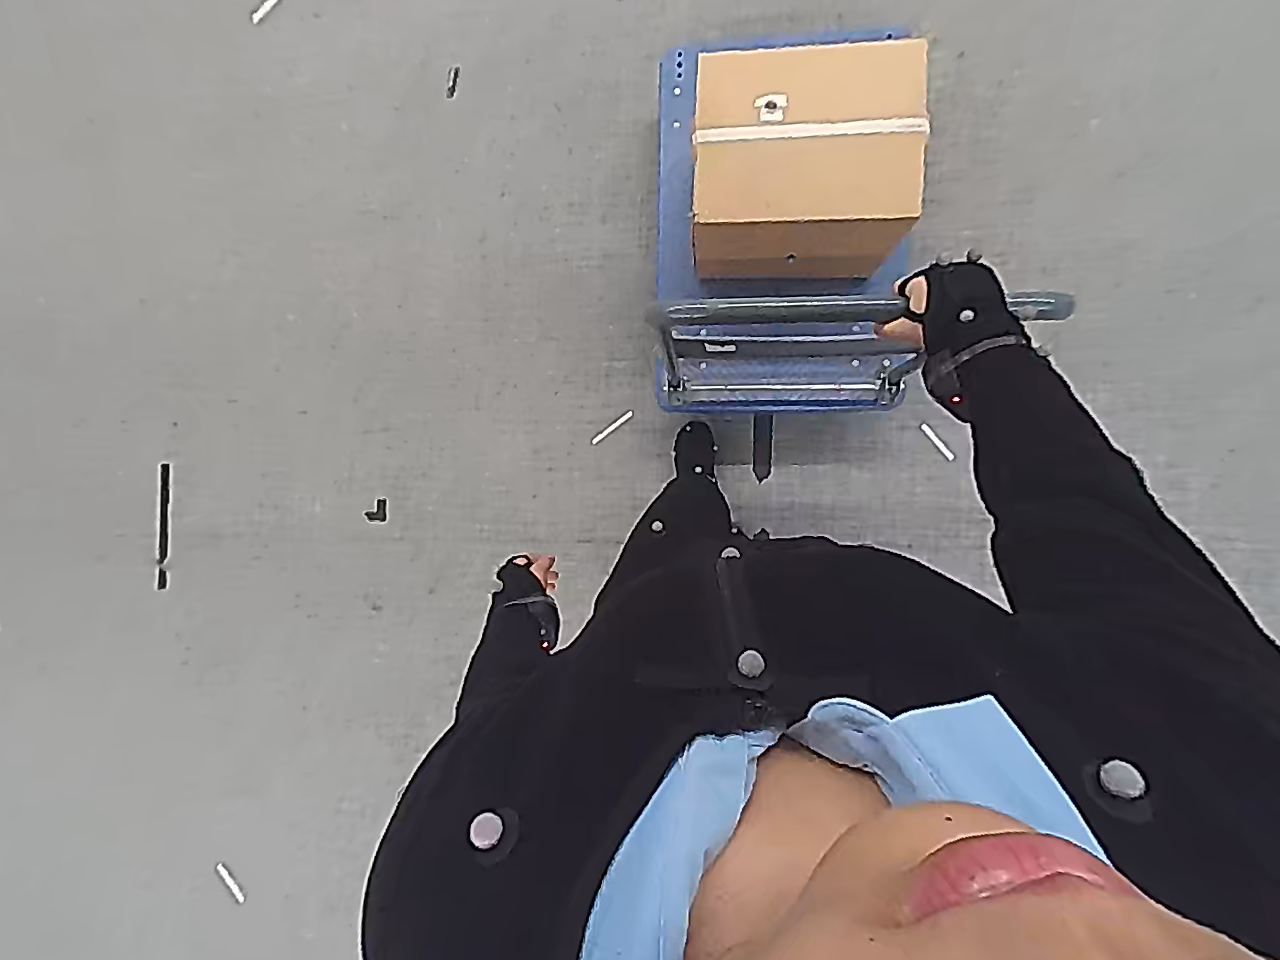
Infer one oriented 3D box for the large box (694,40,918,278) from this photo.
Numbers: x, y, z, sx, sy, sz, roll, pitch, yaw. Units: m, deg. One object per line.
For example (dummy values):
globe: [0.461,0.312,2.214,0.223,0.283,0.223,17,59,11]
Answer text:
large box: [0.324,-0.636,1.141,0.408,0.320,0.320,1,90,9]
